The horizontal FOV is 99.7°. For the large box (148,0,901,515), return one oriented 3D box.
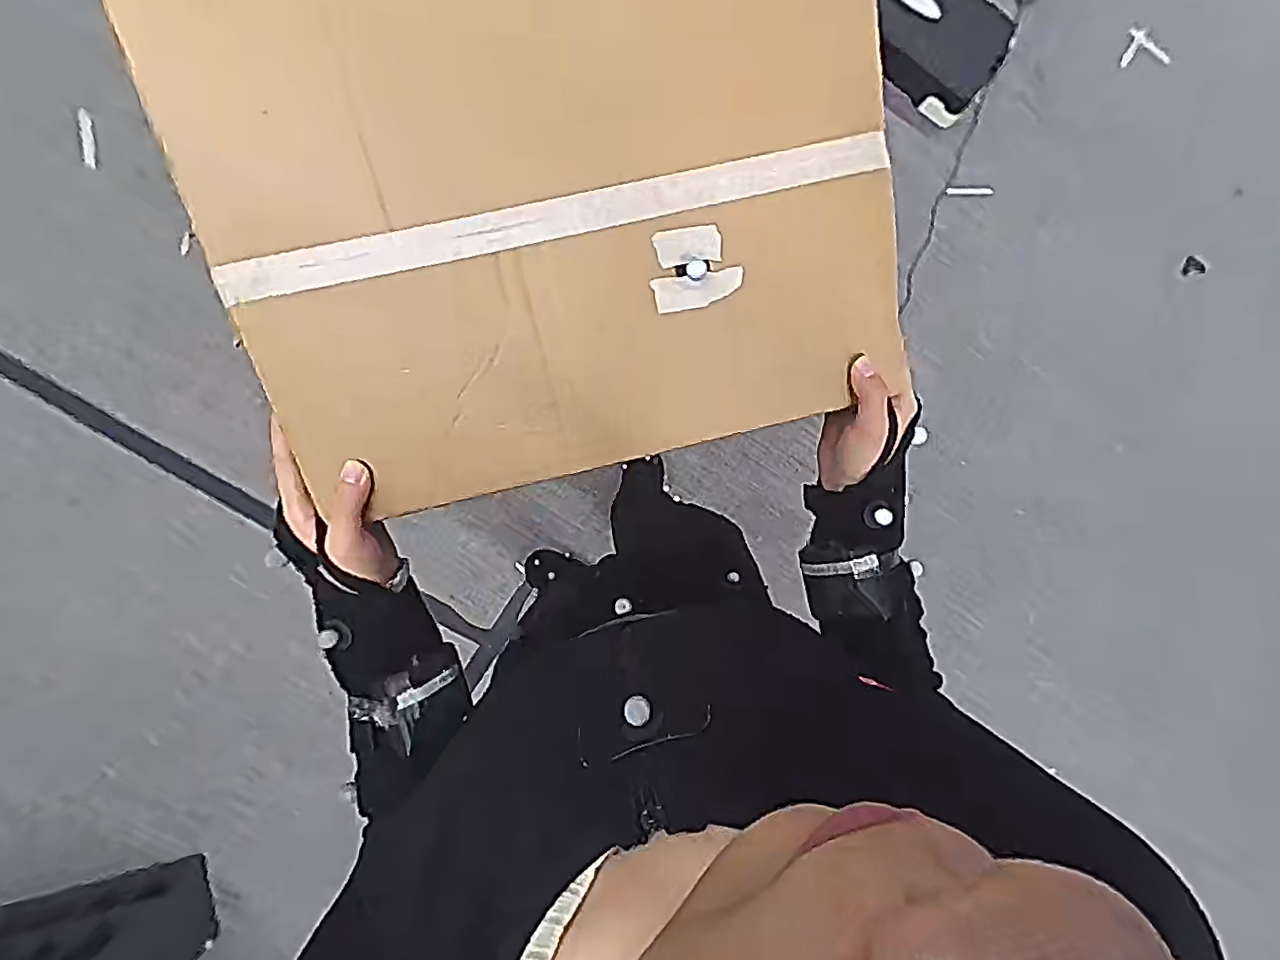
[{"bbox_3d":[-0.055,-0.203,0.473,0.408,0.320,0.320,-14,108,-6],"label":"large box"}]
